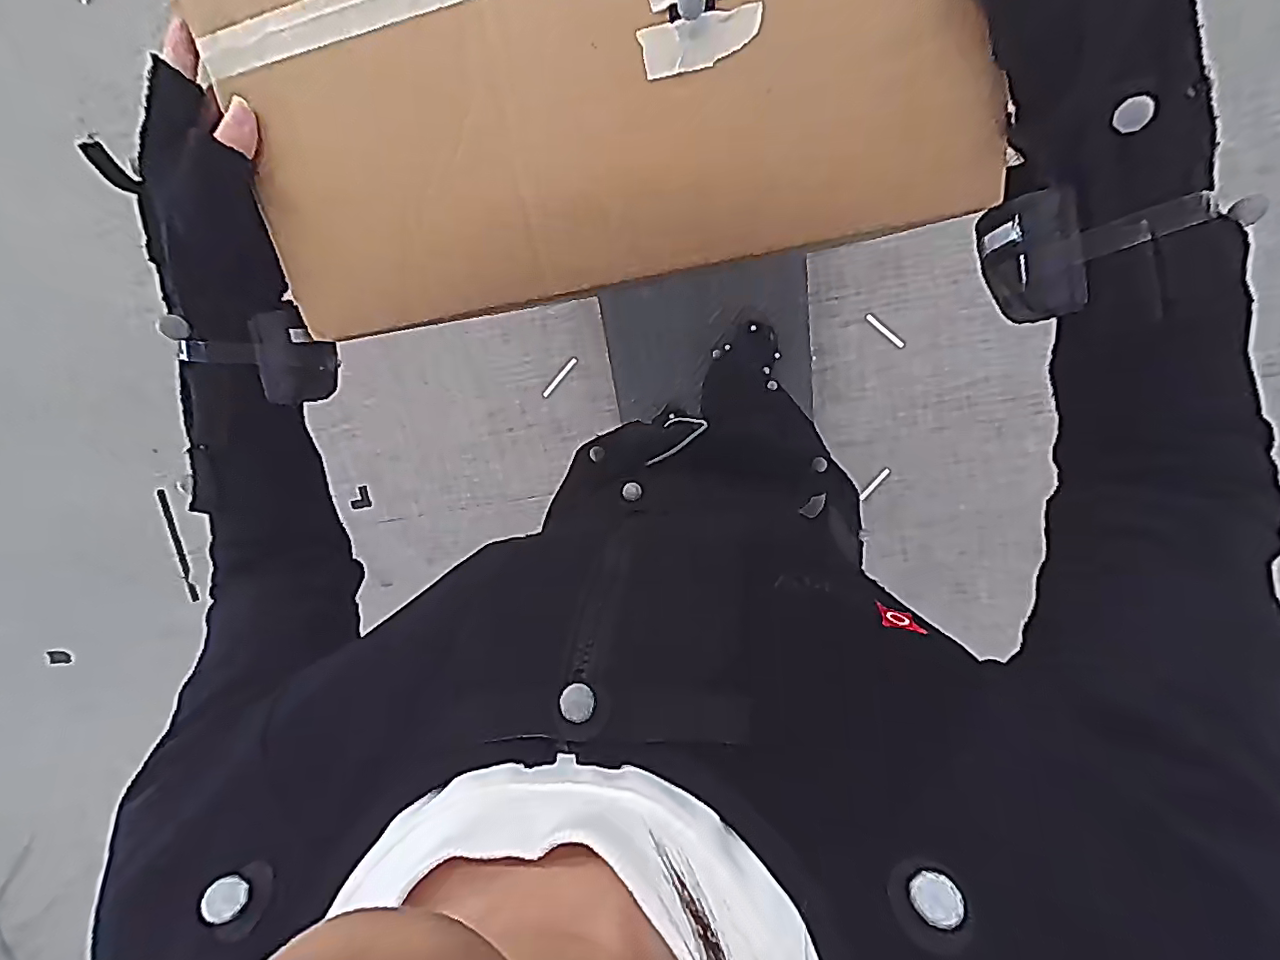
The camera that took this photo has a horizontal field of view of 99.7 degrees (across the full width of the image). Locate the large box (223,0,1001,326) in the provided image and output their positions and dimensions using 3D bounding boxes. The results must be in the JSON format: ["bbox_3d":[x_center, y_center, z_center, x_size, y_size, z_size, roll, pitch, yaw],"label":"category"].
[{"bbox_3d":[-0.016,-0.321,0.408,0.408,0.320,0.320,-7,110,12],"label":"large box"}]
